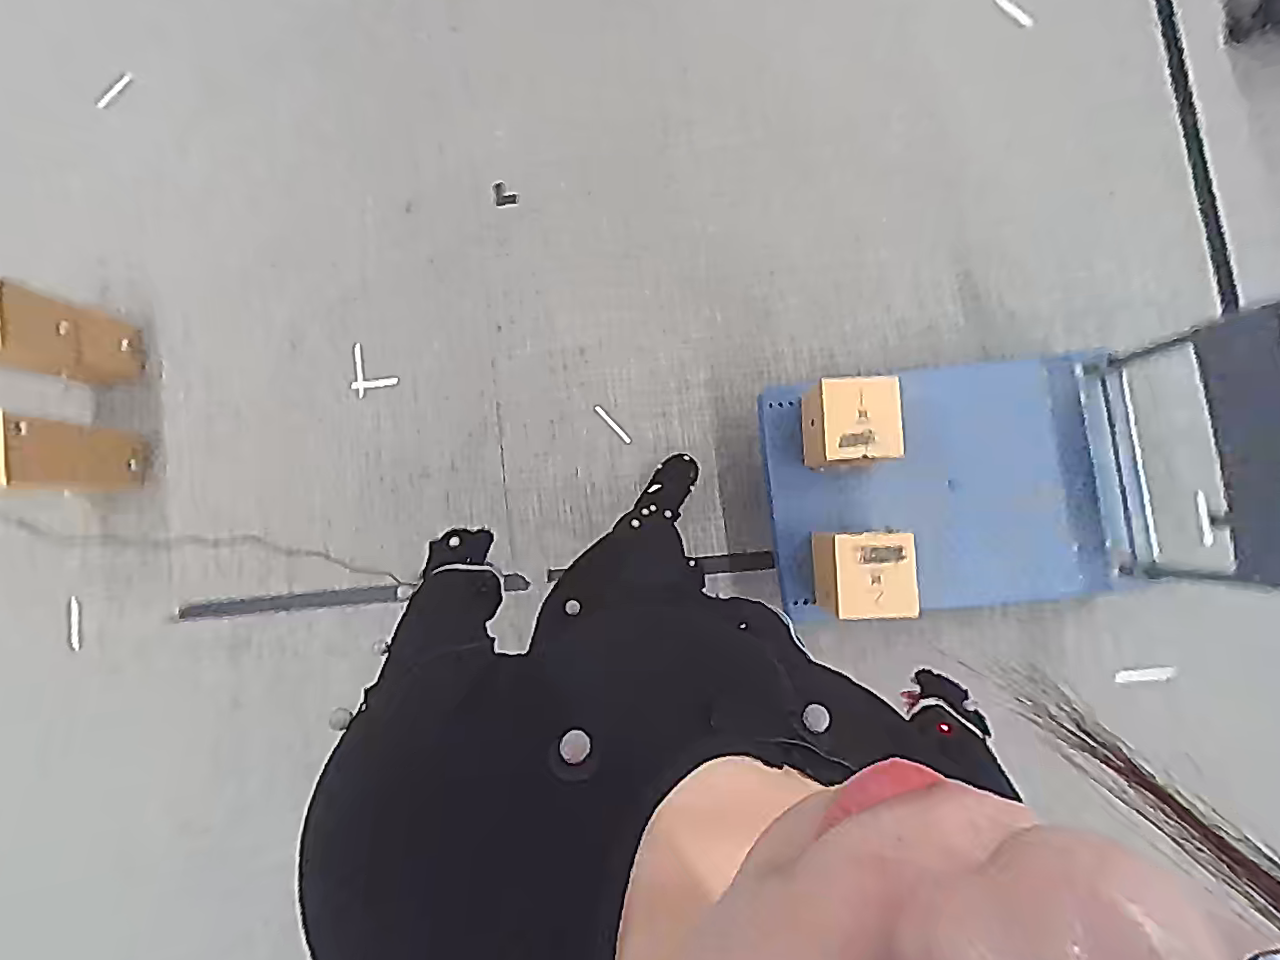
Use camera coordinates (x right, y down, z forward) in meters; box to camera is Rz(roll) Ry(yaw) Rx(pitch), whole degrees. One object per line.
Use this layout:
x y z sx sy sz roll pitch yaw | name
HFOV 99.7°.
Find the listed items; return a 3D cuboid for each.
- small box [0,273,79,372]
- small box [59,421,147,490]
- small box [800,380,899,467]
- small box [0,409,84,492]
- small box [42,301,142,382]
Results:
-1.564 -0.386 1.350 0.168 0.176 0.179 -8 85 2 | small box
-1.522 -0.062 1.490 0.179 0.176 0.168 -4 86 1 | small box
0.471 -0.121 1.233 0.168 0.176 0.179 -1 85 1 | small box
-1.527 -0.066 1.328 0.168 0.176 0.179 -8 86 2 | small box
-1.556 -0.380 1.514 0.179 0.176 0.168 -8 86 1 | small box
